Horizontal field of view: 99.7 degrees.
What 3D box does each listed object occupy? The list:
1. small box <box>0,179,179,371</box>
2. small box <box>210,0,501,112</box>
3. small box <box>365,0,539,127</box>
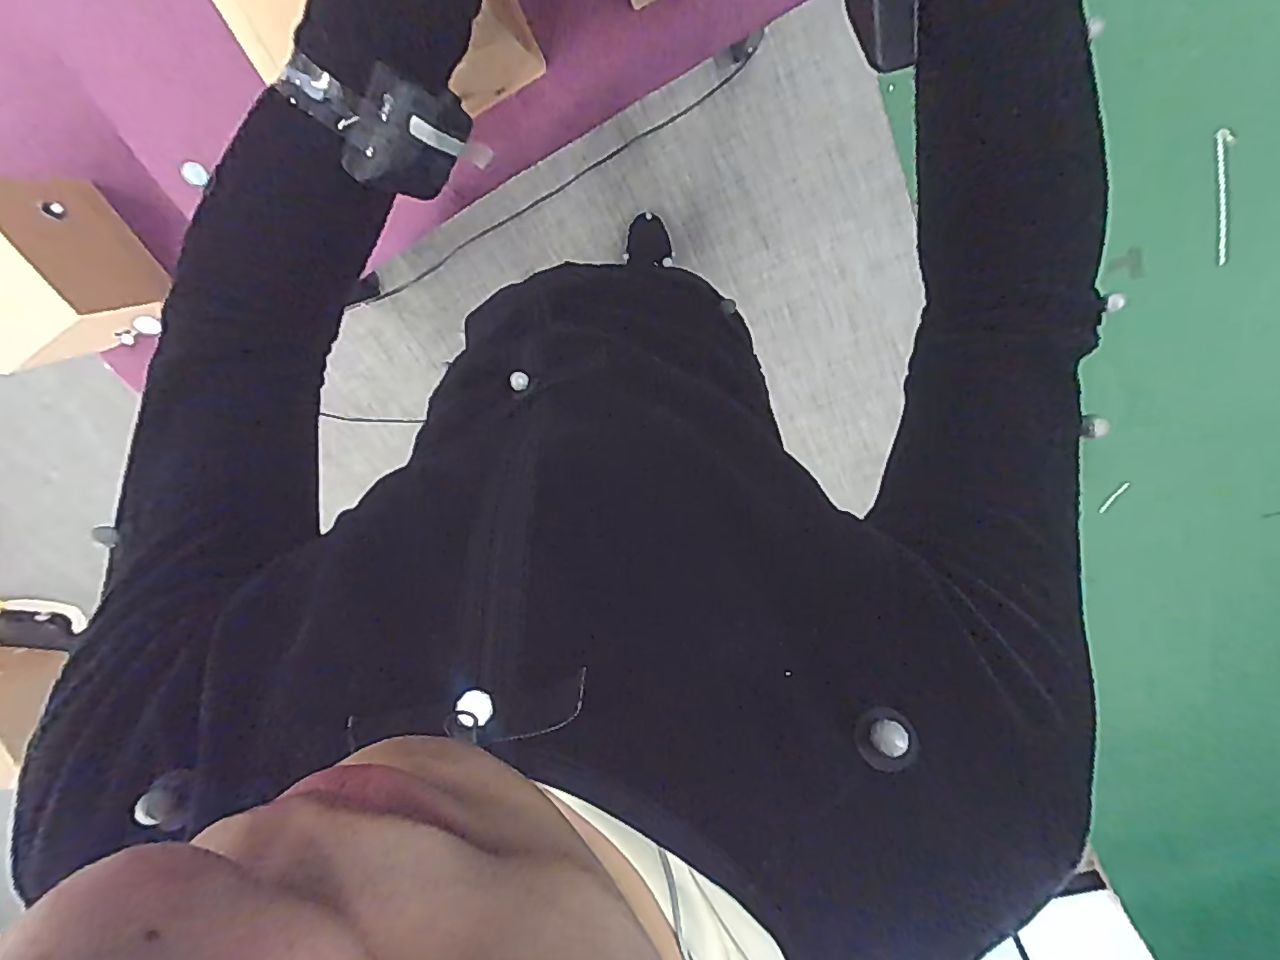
[{"bbox_3d":[-0.794,-0.275,0.721,0.168,0.176,0.179,-24,113,15],"label":"small box"},{"bbox_3d":[-0.239,-0.430,0.425,0.168,0.176,0.179,-21,114,14],"label":"small box"},{"bbox_3d":[-0.229,-0.503,0.572,0.168,0.176,0.179,-22,113,15],"label":"small box"}]
